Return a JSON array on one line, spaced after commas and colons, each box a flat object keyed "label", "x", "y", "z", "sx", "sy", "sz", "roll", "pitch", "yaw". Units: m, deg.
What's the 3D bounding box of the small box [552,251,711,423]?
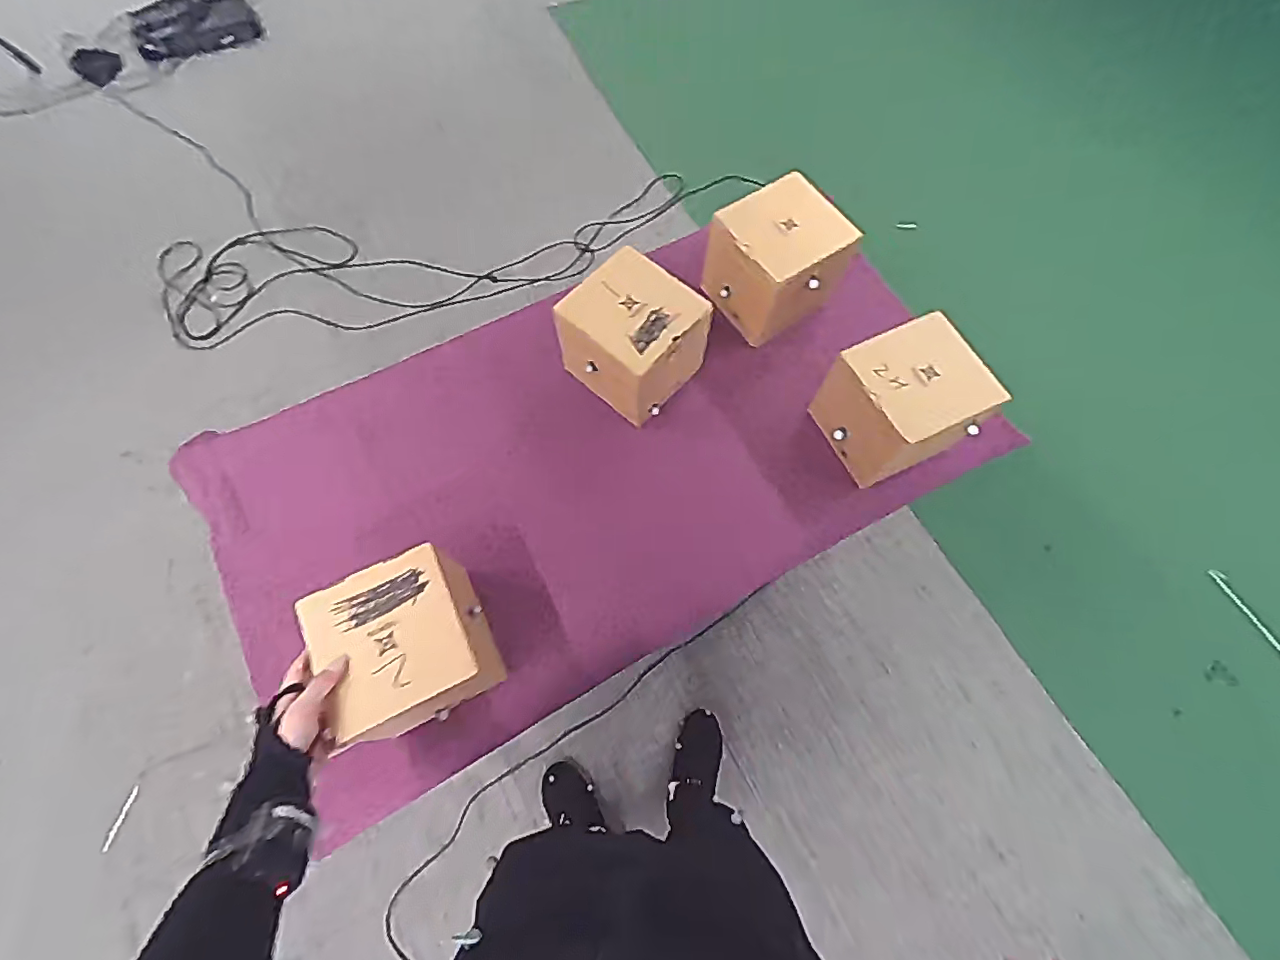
[{"label": "small box", "x": -0.012, "y": -0.215, "z": 0.862, "sx": 0.179, "sy": 0.176, "sz": 0.168, "roll": 40, "pitch": 74, "yaw": 14}]

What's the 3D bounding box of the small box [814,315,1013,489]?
[{"label": "small box", "x": 0.396, "y": -0.110, "z": 0.819, "sx": 0.179, "sy": 0.176, "sz": 0.168, "roll": -24, "pitch": 69, "yaw": -8}]

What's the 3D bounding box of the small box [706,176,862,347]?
[{"label": "small box", "x": 0.231, "y": -0.363, "z": 0.920, "sx": 0.179, "sy": 0.176, "sz": 0.168, "roll": -33, "pitch": 73, "yaw": -11}]
